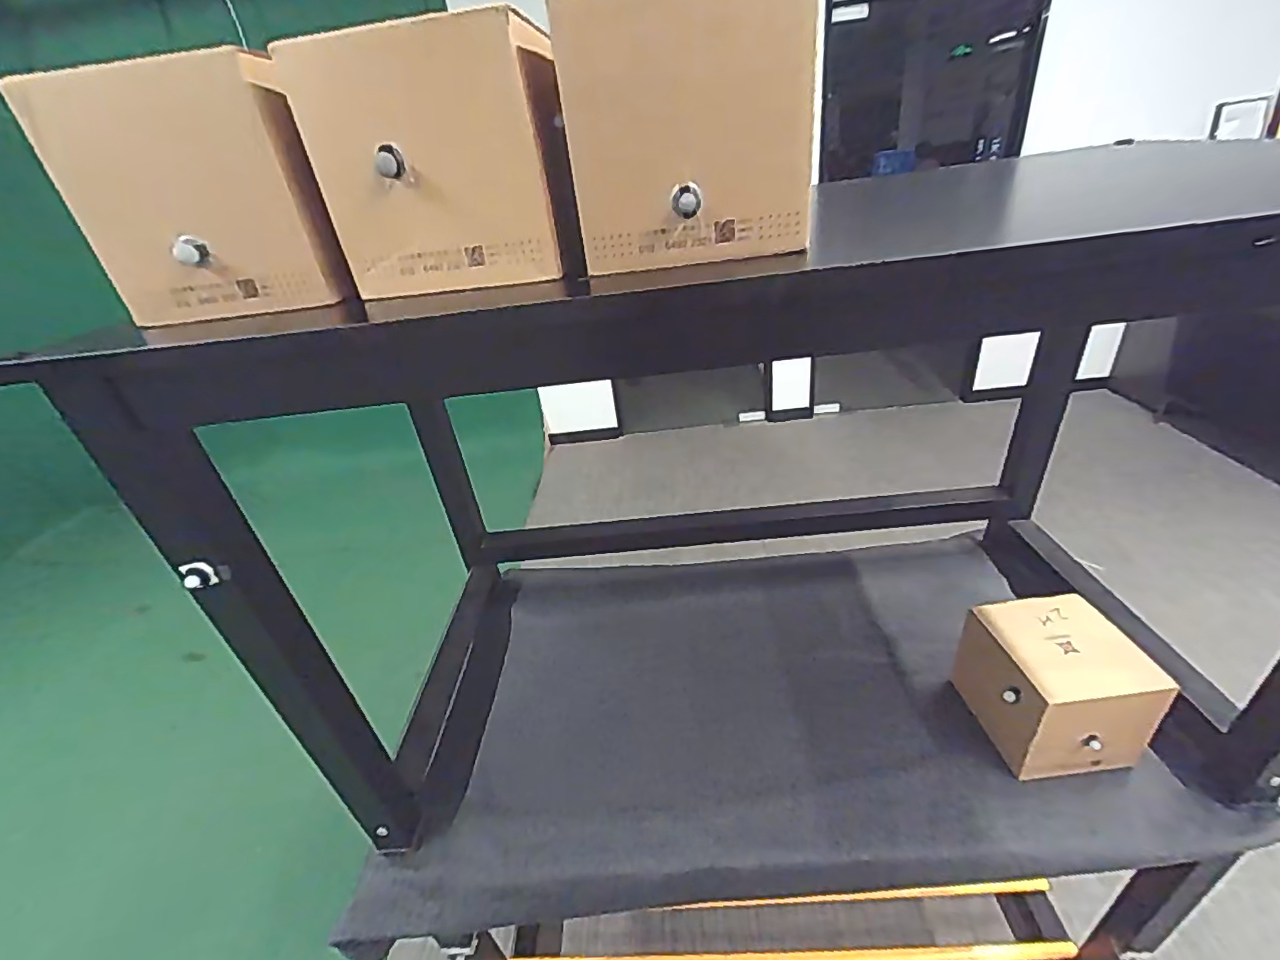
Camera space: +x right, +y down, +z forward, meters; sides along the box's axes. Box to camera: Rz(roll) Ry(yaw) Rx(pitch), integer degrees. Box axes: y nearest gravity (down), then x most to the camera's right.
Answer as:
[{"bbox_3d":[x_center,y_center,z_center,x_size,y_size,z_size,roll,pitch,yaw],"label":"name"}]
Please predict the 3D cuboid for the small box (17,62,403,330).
[{"bbox_3d":[-0.331,-0.239,0.470,0.168,0.176,0.179,-6,32,3],"label":"small box"}]

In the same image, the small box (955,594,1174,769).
[{"bbox_3d":[0.595,0.296,0.789,0.168,0.176,0.179,-7,30,1],"label":"small box"}]
